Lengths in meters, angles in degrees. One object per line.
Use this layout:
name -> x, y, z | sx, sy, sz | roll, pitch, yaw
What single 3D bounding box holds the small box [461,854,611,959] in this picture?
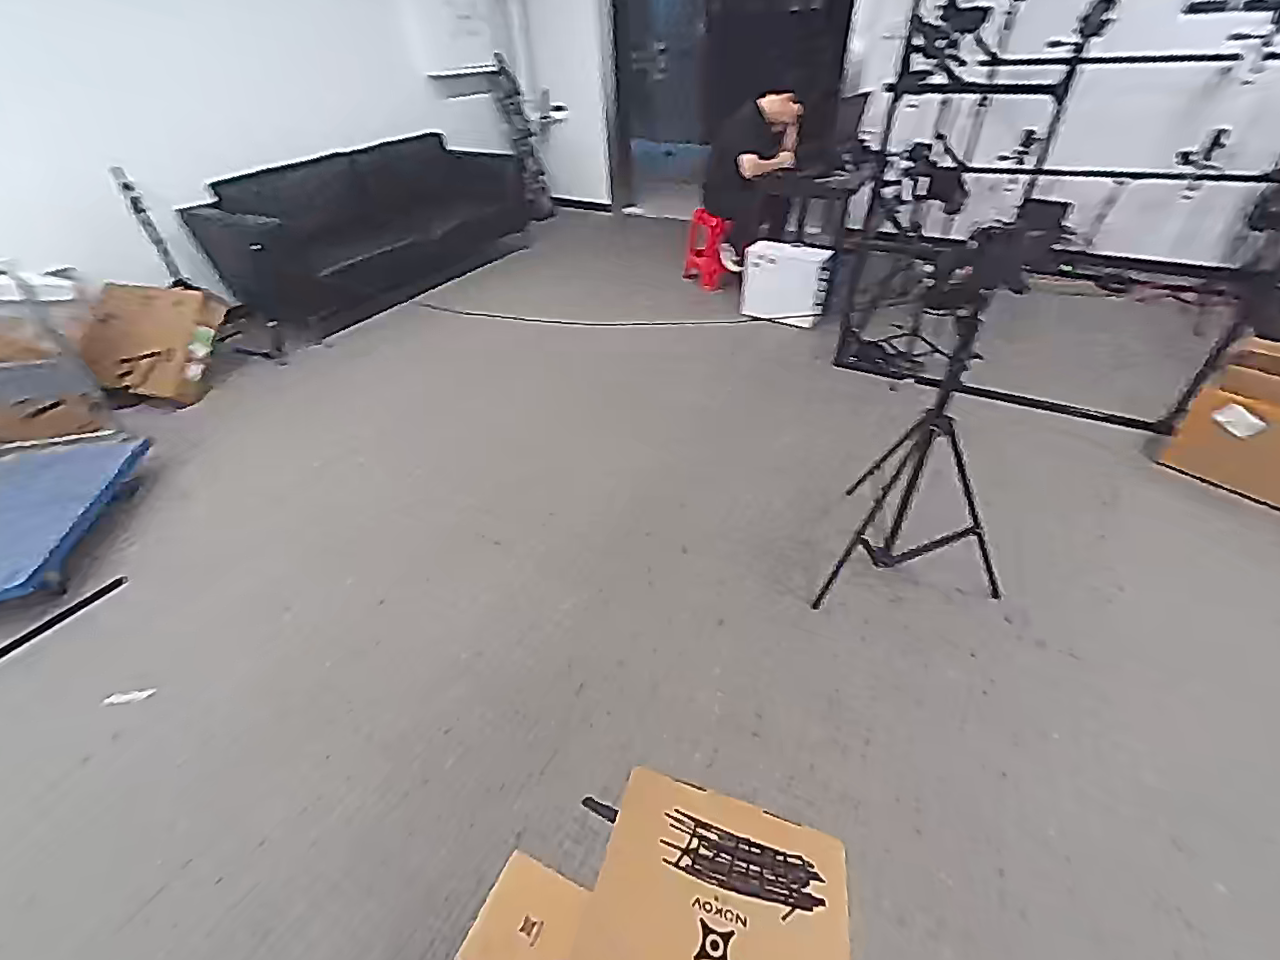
small box -> -0.163, 0.778, 0.904 | 0.179, 0.176, 0.168 | 15, 42, 20
